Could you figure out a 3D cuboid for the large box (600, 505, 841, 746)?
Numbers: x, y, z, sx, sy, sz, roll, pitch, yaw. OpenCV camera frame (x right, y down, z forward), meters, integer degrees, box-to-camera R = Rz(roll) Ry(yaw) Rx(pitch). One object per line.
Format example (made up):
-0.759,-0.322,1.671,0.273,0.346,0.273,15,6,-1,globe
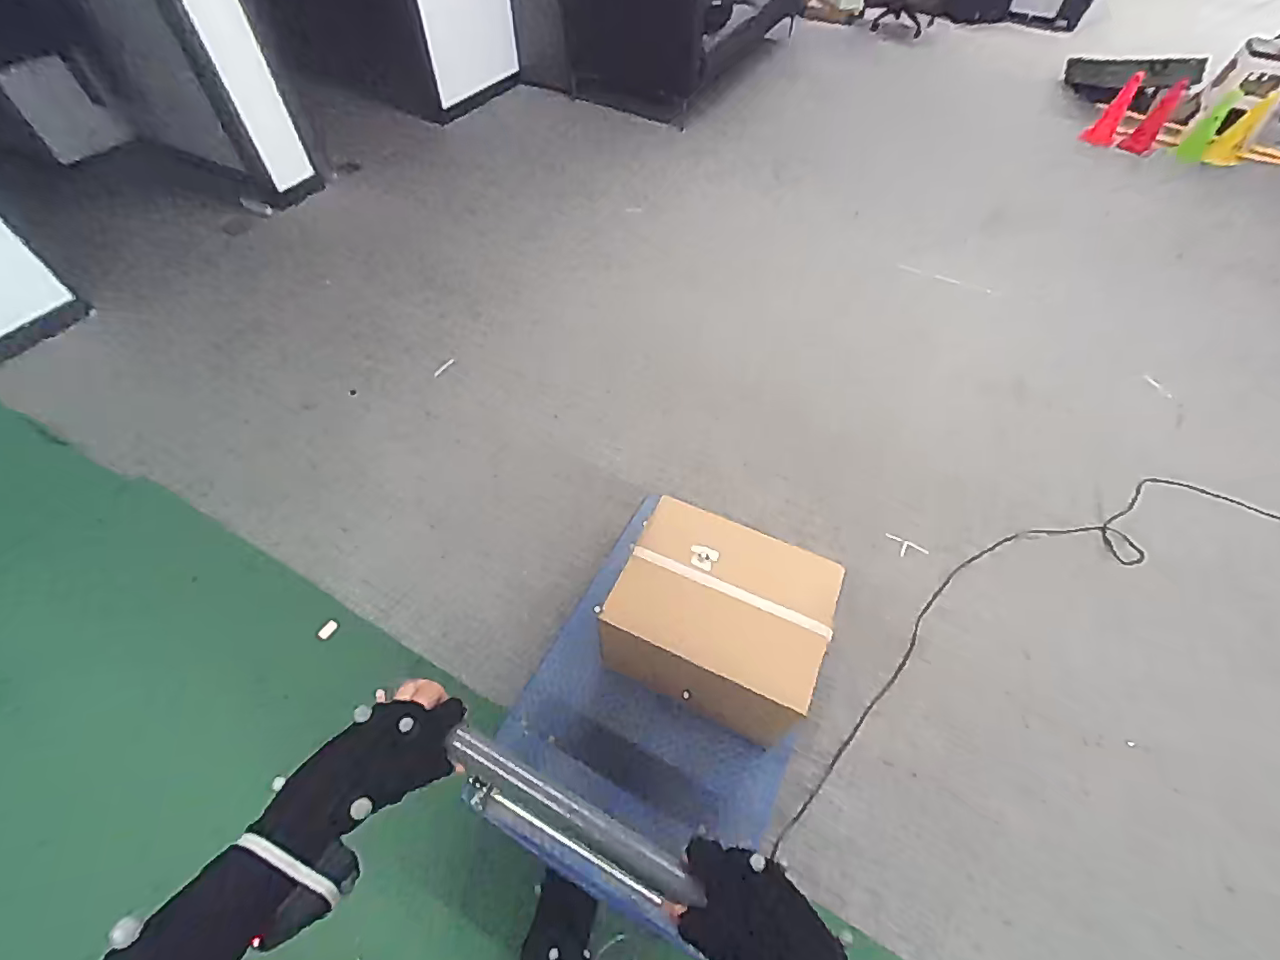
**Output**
0.166,0.317,1.171,0.408,0.320,0.320,20,55,14,large box
